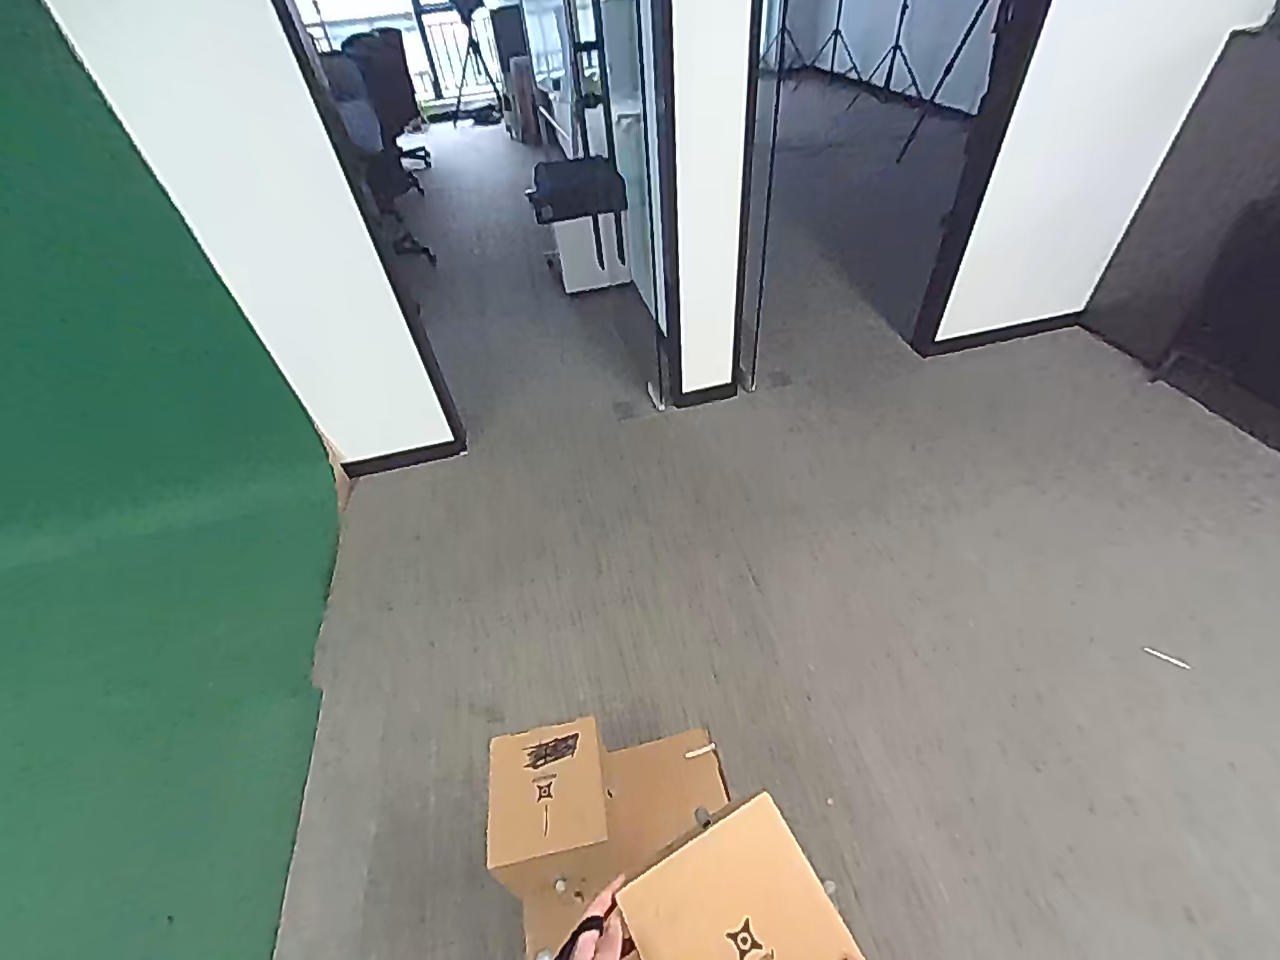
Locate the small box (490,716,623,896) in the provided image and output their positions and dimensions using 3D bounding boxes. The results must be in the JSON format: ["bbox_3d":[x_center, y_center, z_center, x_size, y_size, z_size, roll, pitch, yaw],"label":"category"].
[{"bbox_3d":[-0.125,0.501,0.834,0.168,0.176,0.179,-12,42,-4],"label":"small box"}]

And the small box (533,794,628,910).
[{"bbox_3d":[-0.119,0.616,0.953,0.168,0.176,0.179,-13,41,-5],"label":"small box"}]

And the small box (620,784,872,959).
[{"bbox_3d":[0.091,0.426,0.522,0.168,0.176,0.179,-26,64,-15],"label":"small box"}]
